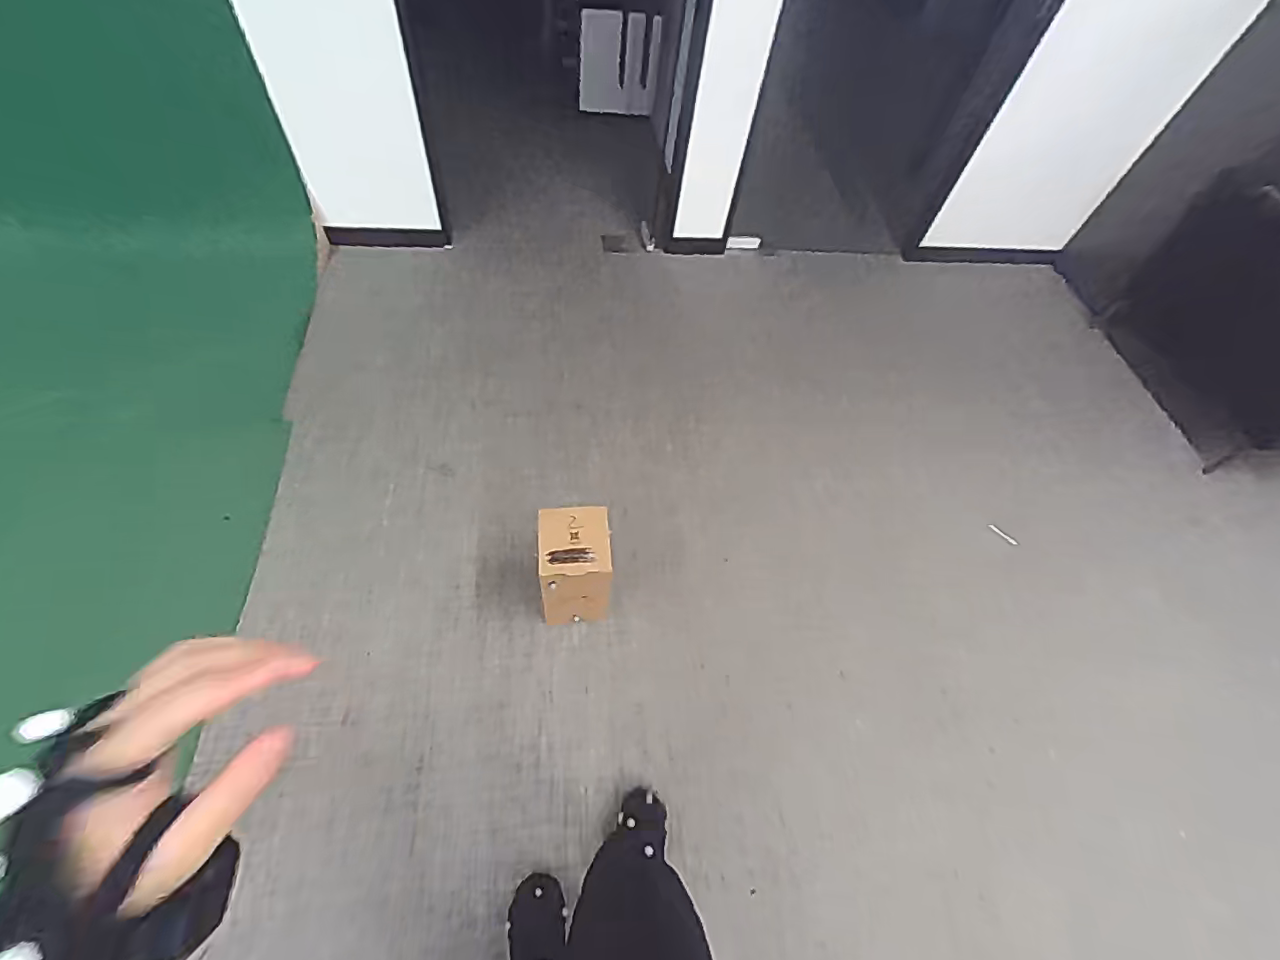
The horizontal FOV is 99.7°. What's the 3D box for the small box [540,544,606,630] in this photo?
[{"bbox_3d":[-0.181,0.288,1.450,0.168,0.176,0.179,-1,58,-8],"label":"small box"}]
